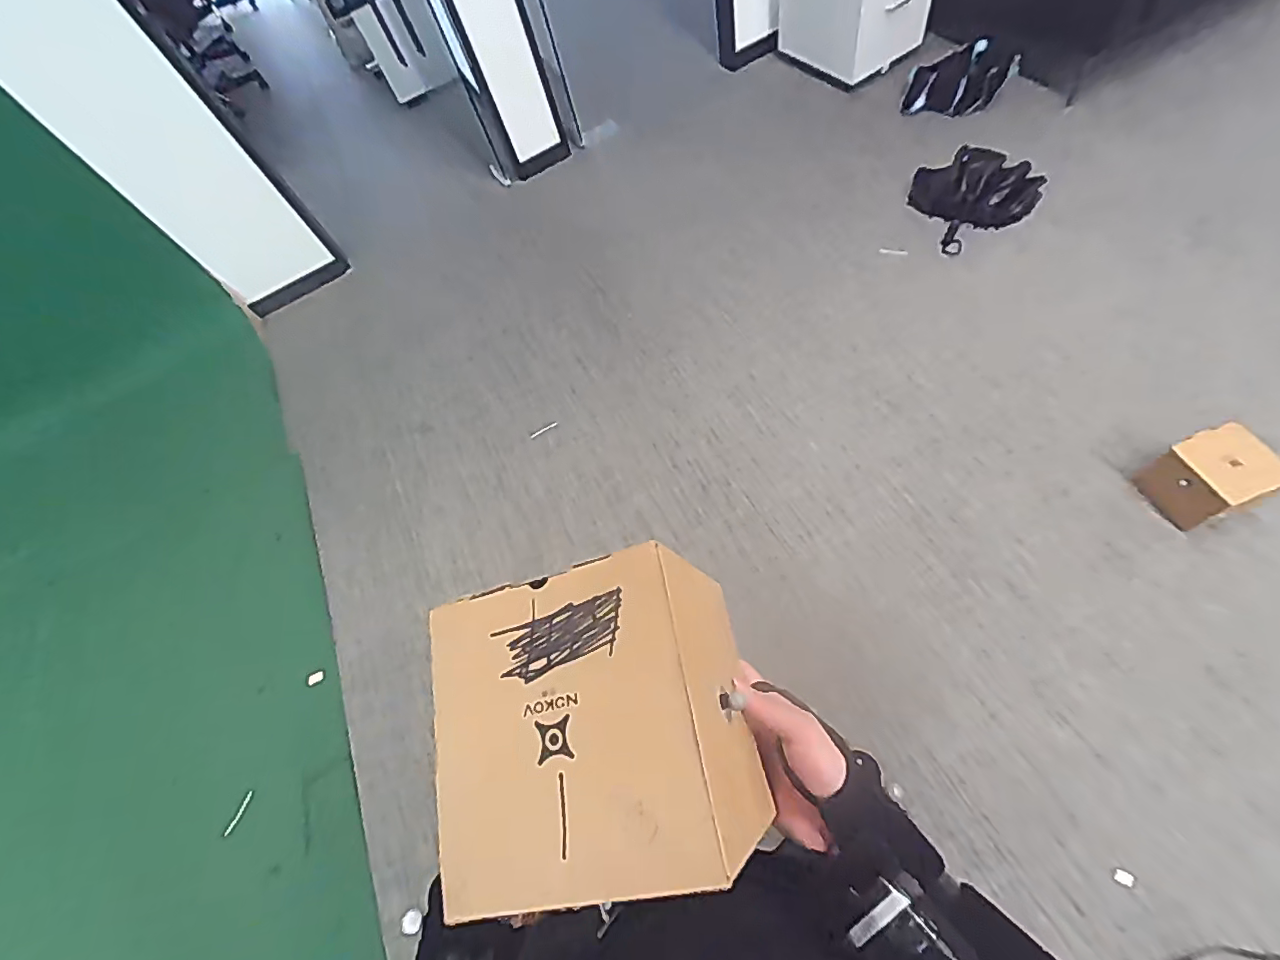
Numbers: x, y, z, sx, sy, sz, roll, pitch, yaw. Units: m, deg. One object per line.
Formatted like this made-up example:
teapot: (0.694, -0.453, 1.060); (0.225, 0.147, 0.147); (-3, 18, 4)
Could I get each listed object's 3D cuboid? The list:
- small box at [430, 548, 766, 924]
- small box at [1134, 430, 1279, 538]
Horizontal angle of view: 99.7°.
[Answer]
small box: (-0.022, 0.167, 0.378); (0.168, 0.176, 0.179); (-19, 65, 15)
small box: (1.378, 0.014, 1.315); (0.168, 0.176, 0.179); (-23, 60, 2)
